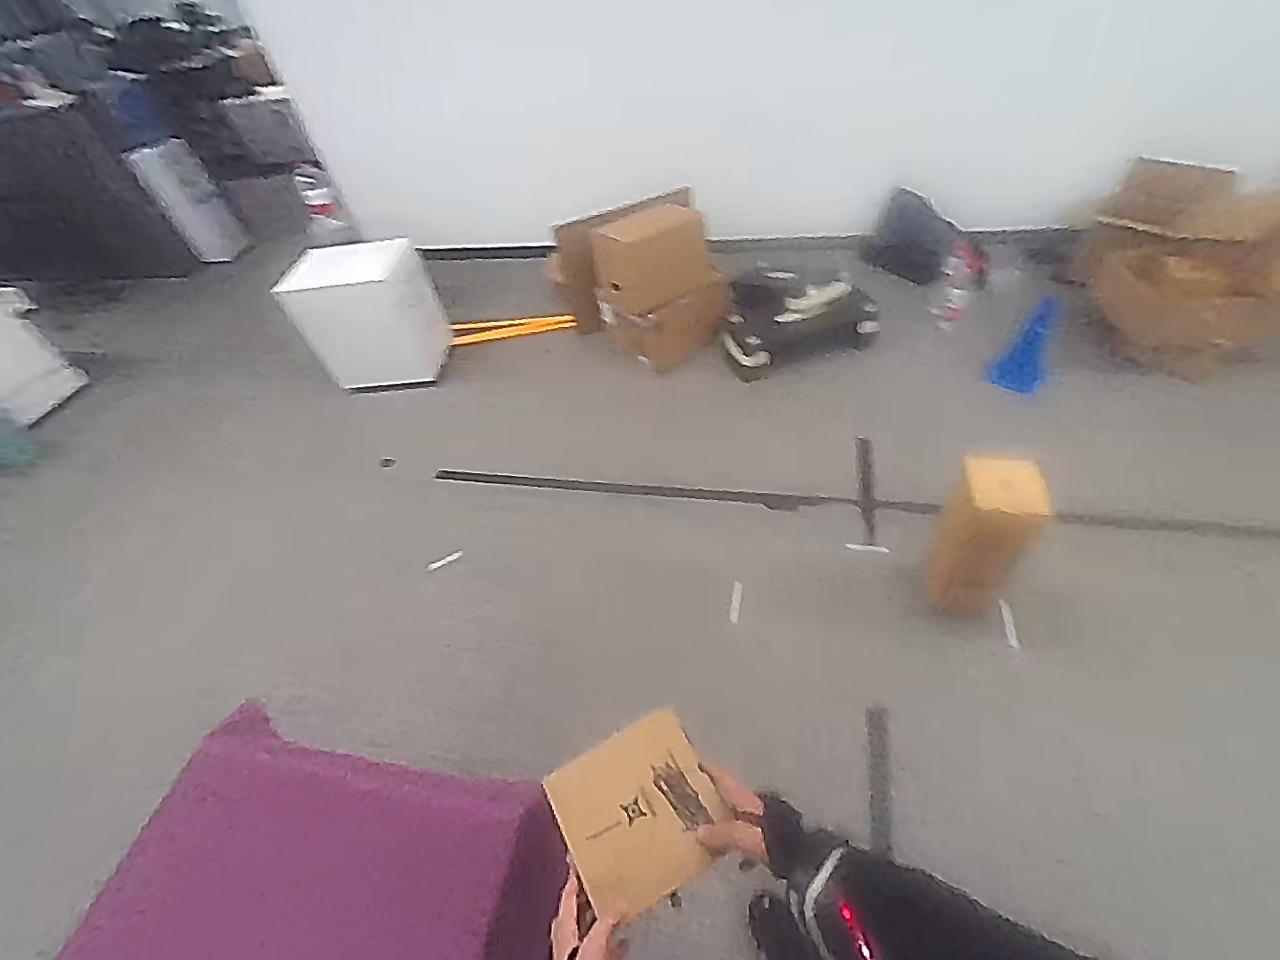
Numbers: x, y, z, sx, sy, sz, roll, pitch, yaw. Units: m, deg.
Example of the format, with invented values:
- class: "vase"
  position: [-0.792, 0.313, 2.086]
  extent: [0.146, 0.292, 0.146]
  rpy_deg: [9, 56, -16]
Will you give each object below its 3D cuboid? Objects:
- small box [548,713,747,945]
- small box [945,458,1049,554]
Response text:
- class: "small box"
  position: [0.007, 0.425, 0.672]
  extent: [0.179, 0.176, 0.168]
  rpy_deg: [-25, 56, -15]
- class: "small box"
  position: [0.915, 0.067, 1.405]
  extent: [0.168, 0.176, 0.179]
  rpy_deg: [5, 50, 13]
